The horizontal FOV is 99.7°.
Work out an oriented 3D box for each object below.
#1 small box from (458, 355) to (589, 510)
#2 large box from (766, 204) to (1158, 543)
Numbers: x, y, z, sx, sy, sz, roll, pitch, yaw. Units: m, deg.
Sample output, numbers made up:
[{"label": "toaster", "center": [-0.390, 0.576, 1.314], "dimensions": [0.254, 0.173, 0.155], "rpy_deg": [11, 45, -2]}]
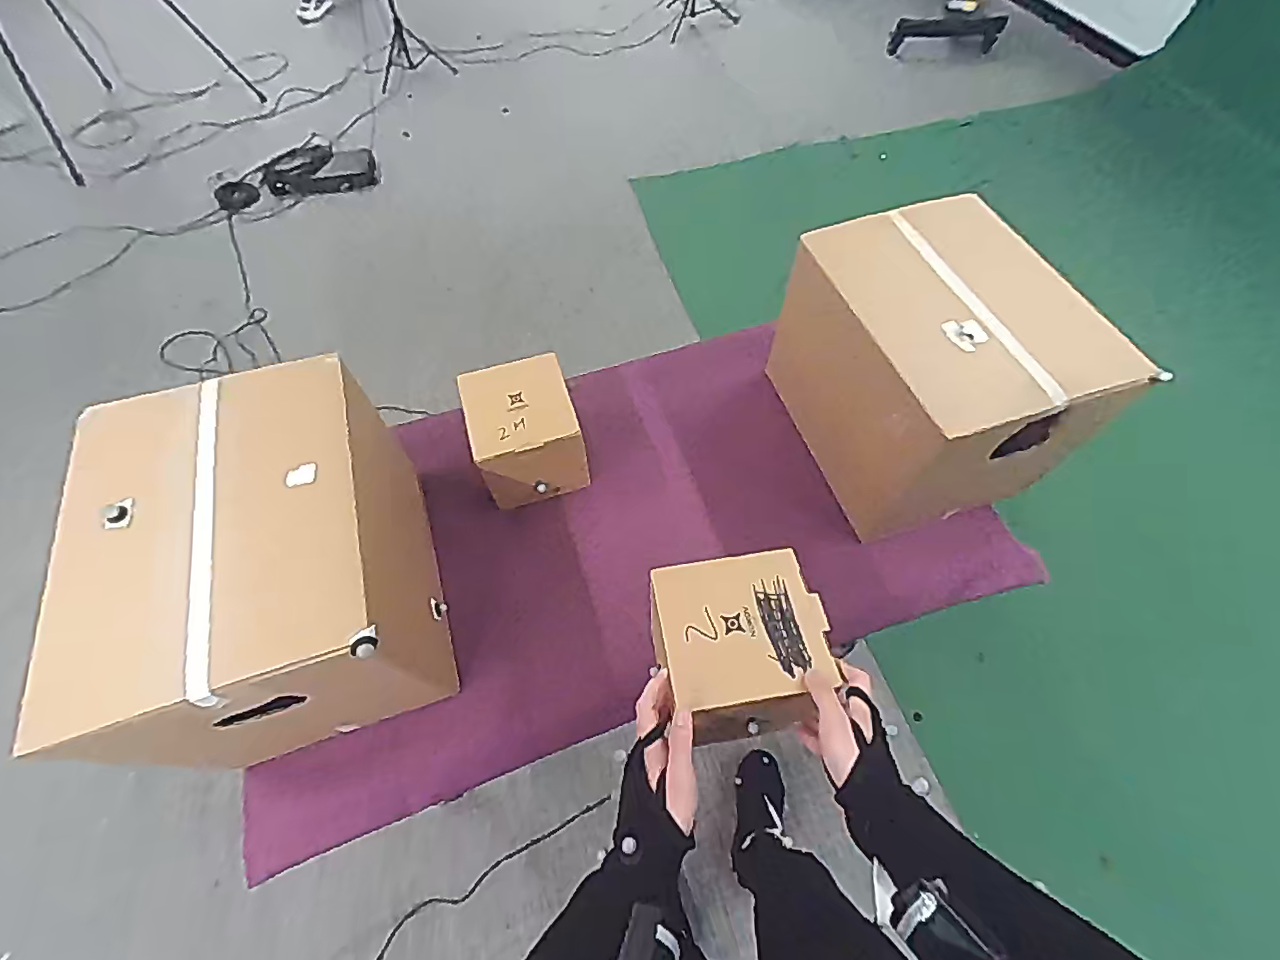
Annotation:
[{"label": "small box", "center": [-0.191, -0.076, 0.912], "dimensions": [0.168, 0.176, 0.179], "rpy_deg": [-16, 62, -8]}, {"label": "large box", "center": [0.450, -0.168, 0.881], "dimensions": [0.320, 0.320, 0.408], "rpy_deg": [-16, 62, -7]}]
